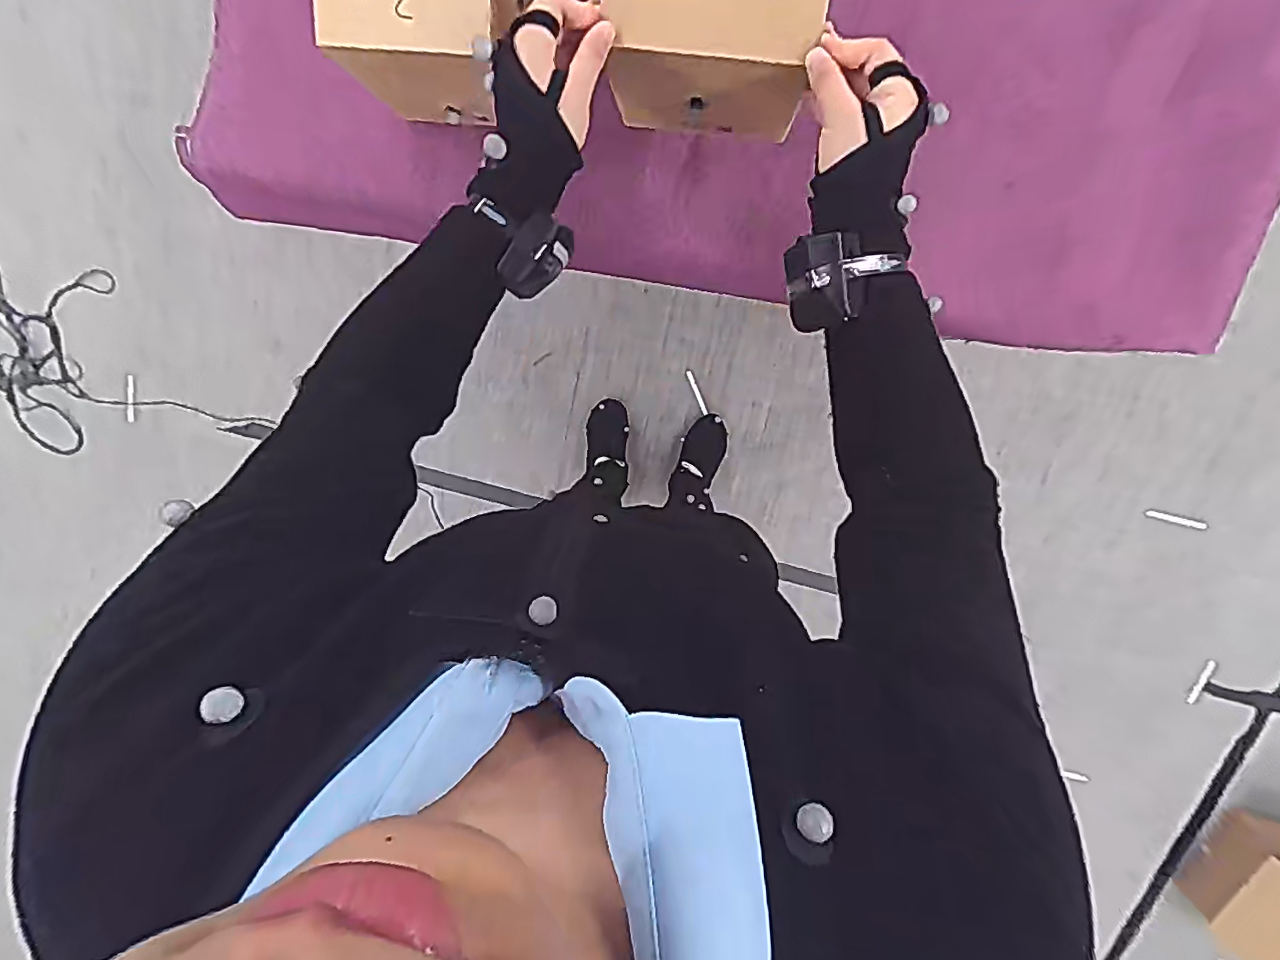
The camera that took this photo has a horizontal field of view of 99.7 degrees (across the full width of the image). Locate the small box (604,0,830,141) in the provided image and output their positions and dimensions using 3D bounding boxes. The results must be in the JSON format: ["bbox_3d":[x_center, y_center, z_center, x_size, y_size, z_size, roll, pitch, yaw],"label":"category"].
[{"bbox_3d":[0.071,-0.419,0.462,0.168,0.176,0.179,9,104,2],"label":"small box"}]

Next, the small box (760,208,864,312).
[{"bbox_3d":[0.386,-0.498,1.253,0.168,0.176,0.179,17,104,1],"label":"small box"}]
